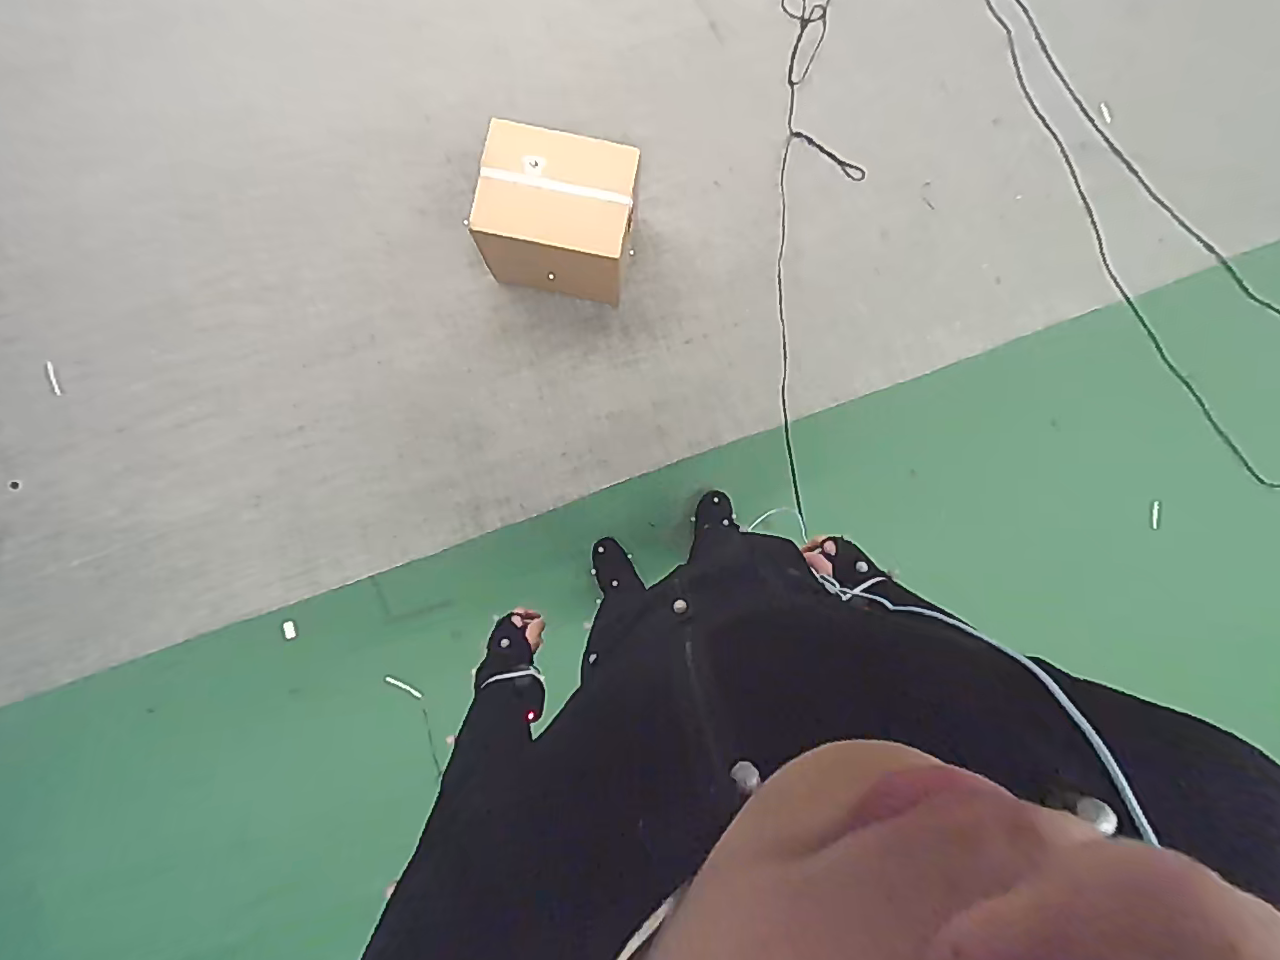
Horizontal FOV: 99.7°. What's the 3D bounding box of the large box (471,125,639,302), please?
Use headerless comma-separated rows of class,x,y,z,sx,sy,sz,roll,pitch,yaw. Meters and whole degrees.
large box,-0.223,-0.749,1.567,0.408,0.320,0.320,11,85,0
